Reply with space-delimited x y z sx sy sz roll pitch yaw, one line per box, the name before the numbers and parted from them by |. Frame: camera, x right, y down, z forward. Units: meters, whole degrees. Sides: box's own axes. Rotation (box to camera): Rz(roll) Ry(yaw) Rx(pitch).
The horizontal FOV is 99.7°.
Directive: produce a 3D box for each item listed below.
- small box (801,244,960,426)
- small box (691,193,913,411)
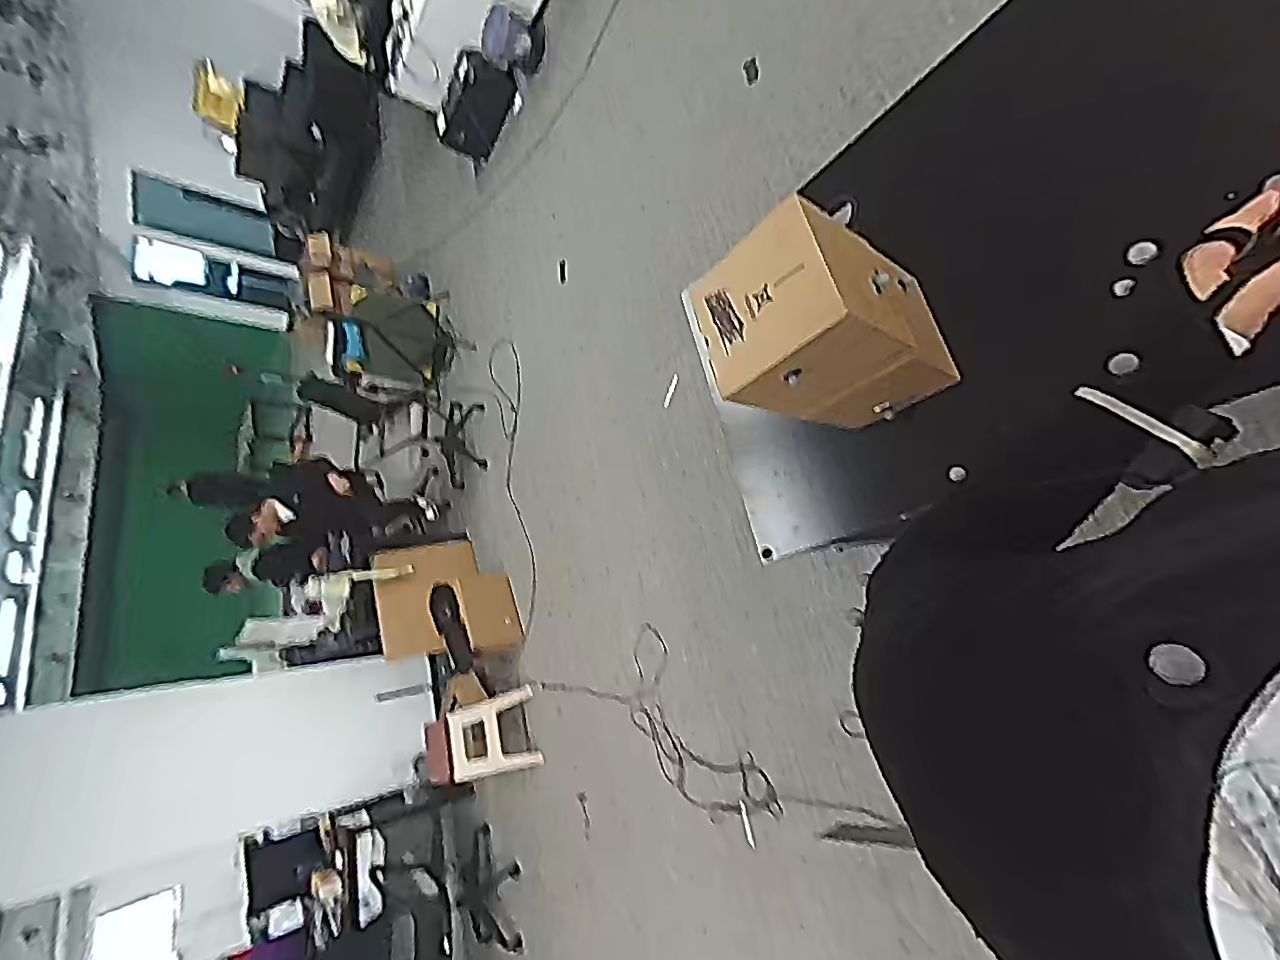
small box | 0.320 -0.194 0.777 0.168 0.176 0.179 -32 65 44
small box | 0.196 -0.200 0.669 0.179 0.176 0.168 -33 63 43
